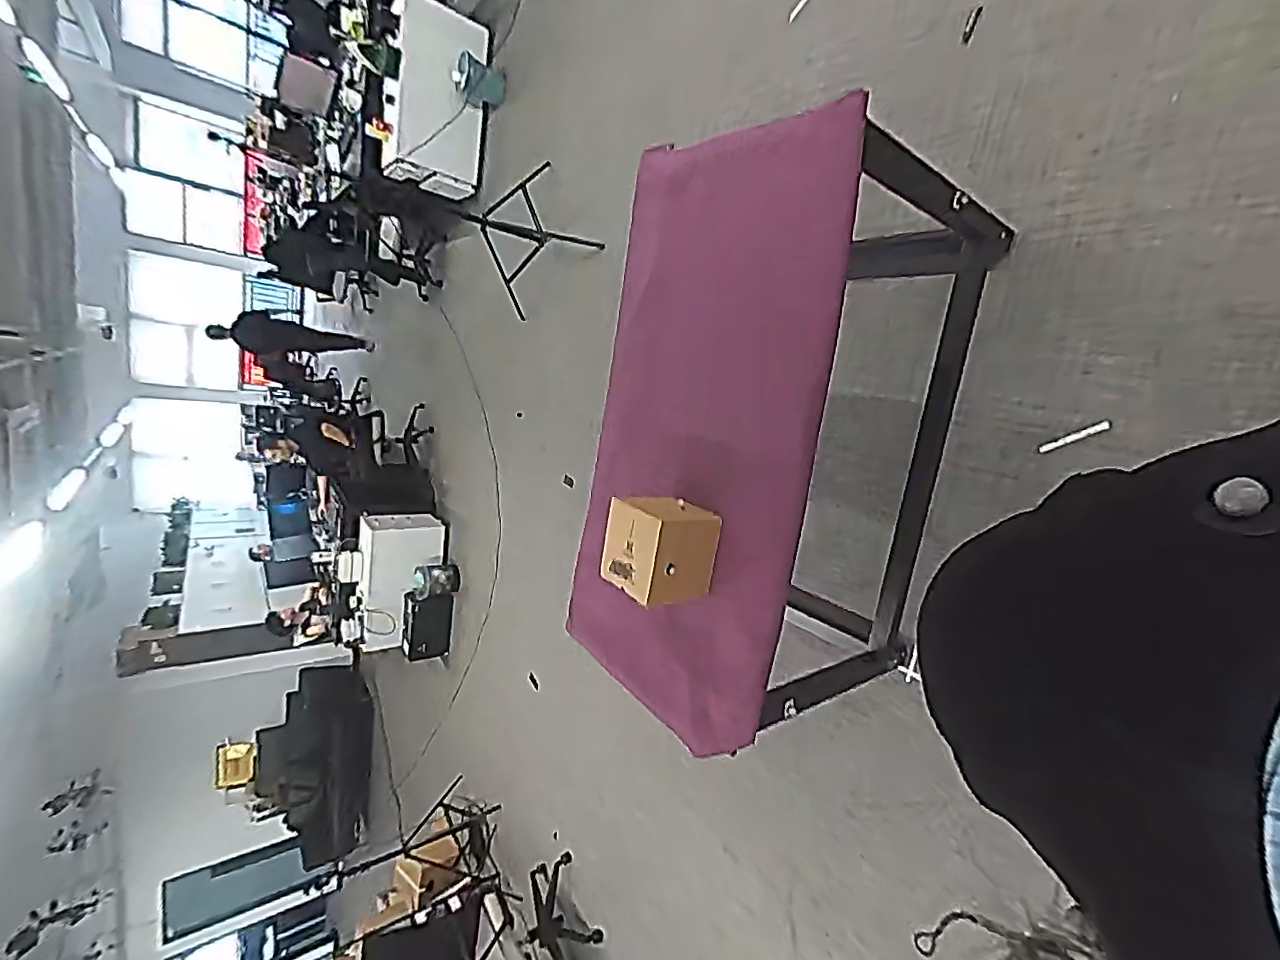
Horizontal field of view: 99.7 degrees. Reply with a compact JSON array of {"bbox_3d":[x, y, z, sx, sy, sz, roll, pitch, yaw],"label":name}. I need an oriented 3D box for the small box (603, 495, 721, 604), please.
[{"bbox_3d":[0.046,0.136,1.124,0.168,0.176,0.179,22,106,50],"label":"small box"}]
